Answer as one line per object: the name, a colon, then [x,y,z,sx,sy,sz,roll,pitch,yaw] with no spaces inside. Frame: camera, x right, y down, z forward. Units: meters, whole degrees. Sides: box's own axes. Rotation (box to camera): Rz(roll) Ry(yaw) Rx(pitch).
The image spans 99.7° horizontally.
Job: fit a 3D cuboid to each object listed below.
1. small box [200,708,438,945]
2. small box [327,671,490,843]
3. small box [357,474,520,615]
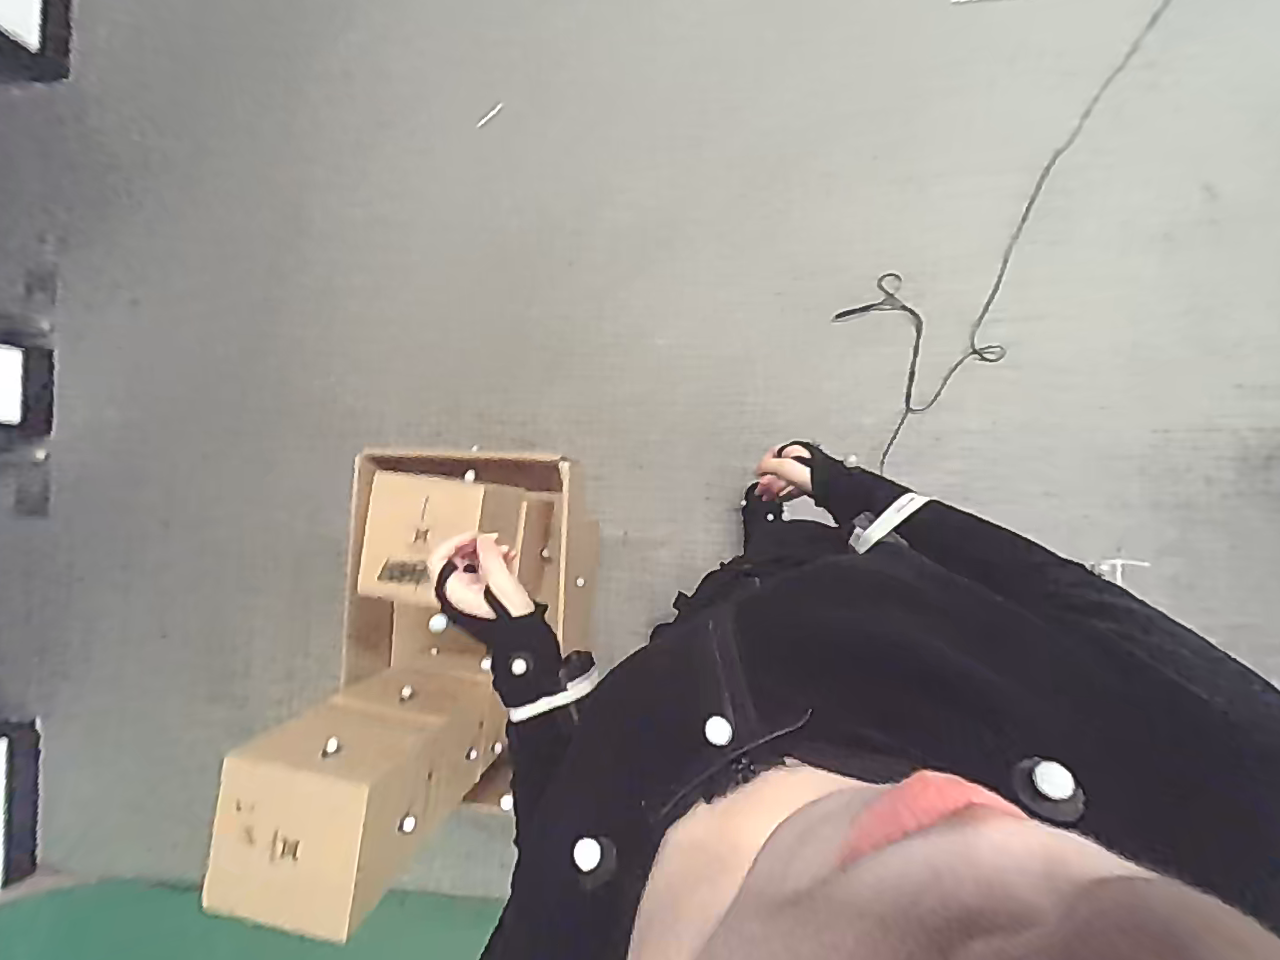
small box: [-0.371,0.398,0.656,0.179,0.176,0.168,8,88,8]
small box: [-0.351,0.403,0.820,0.179,0.176,0.168,7,88,8]
small box: [-0.296,0.092,0.828,0.168,0.176,0.179,8,88,8]
